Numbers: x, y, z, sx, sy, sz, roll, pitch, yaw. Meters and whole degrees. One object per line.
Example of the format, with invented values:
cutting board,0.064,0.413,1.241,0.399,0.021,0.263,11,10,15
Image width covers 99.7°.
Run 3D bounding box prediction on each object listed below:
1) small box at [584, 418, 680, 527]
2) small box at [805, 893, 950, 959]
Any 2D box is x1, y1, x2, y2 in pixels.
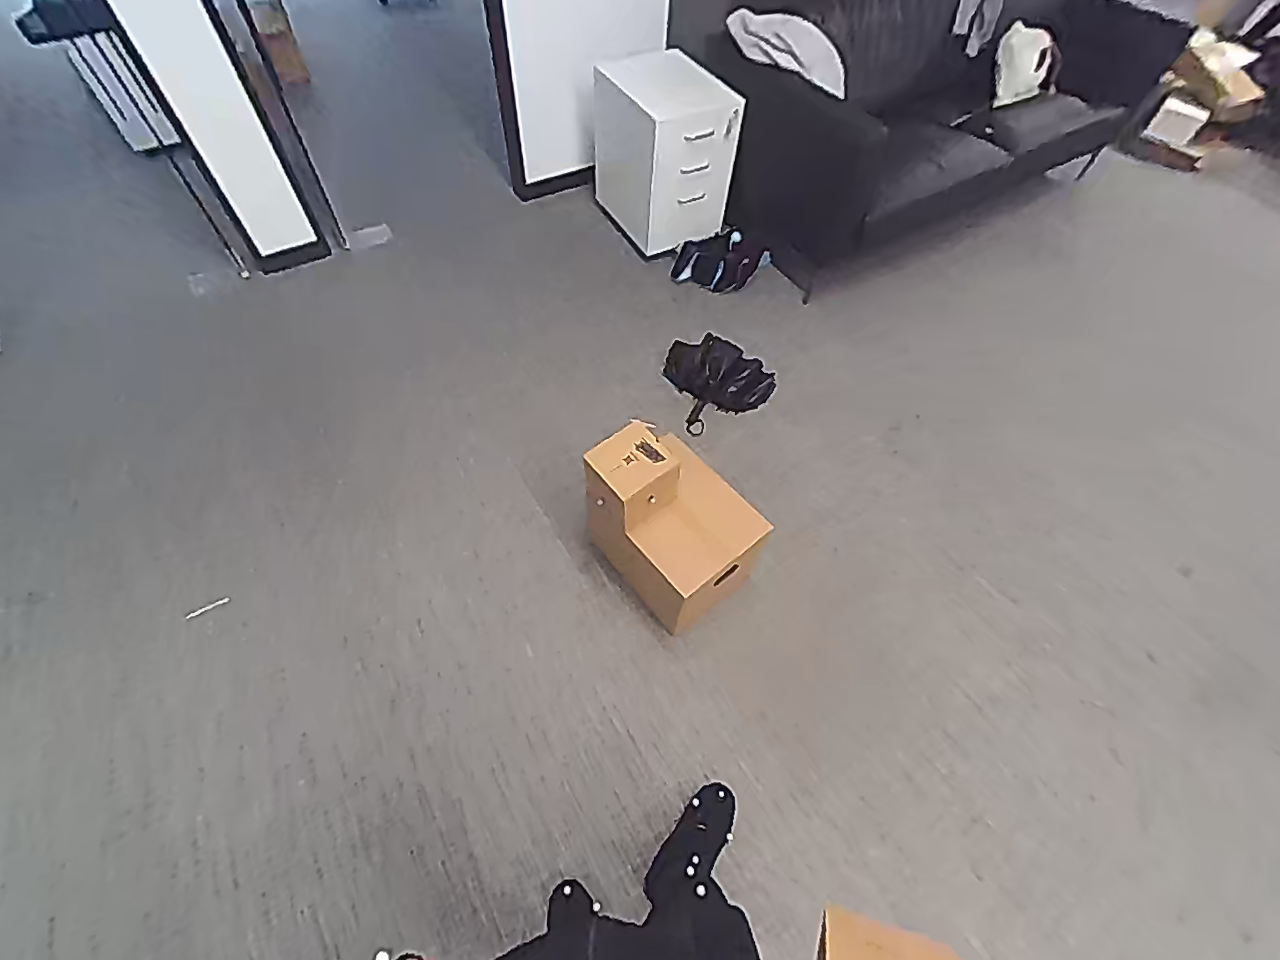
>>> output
small box,-0.021,-0.016,1.361,0.179,0.176,0.168,-34,65,-18
small box,0.289,0.679,0.666,0.168,0.179,0.176,10,95,17
